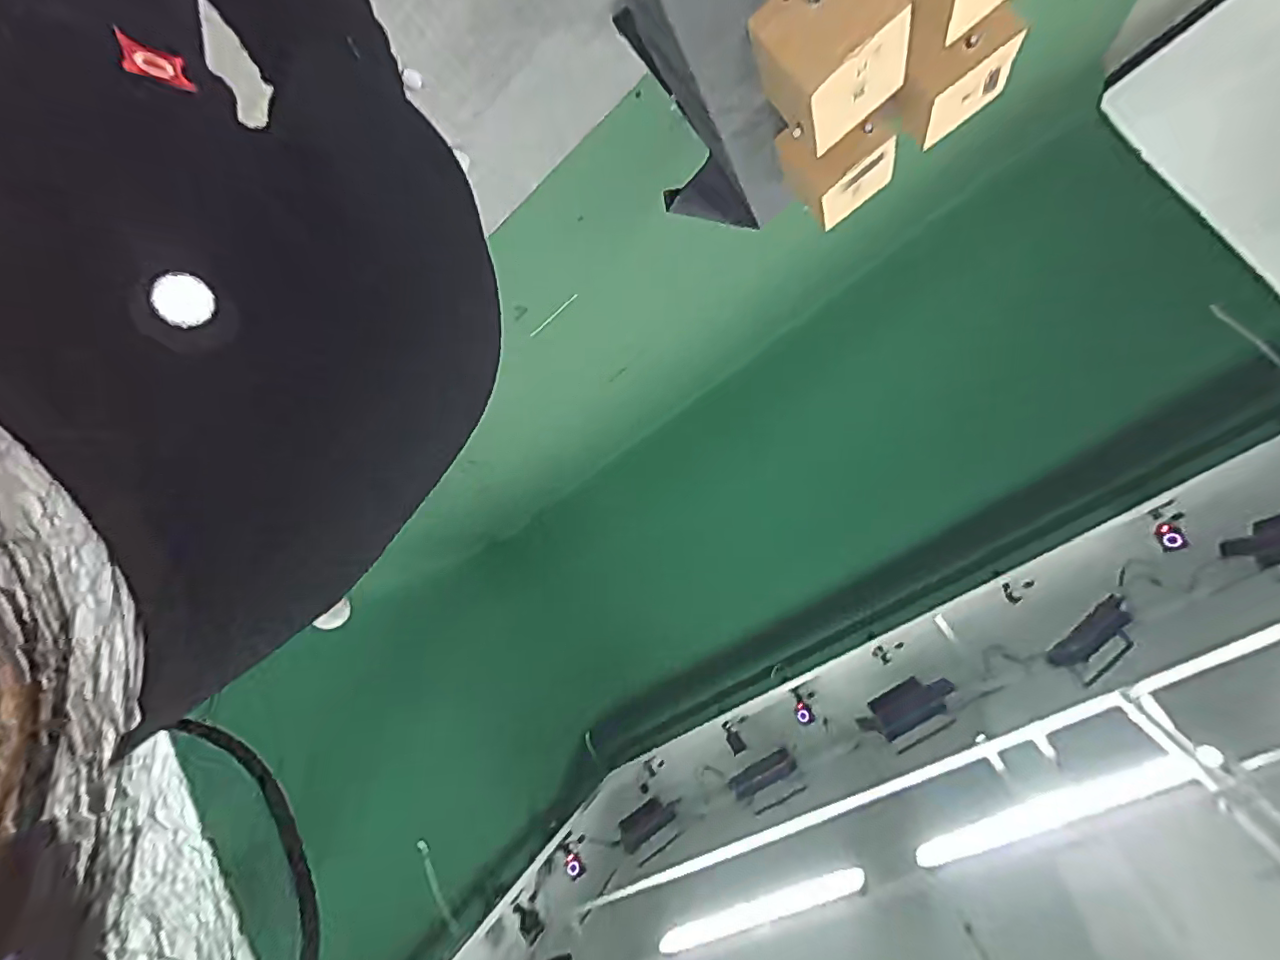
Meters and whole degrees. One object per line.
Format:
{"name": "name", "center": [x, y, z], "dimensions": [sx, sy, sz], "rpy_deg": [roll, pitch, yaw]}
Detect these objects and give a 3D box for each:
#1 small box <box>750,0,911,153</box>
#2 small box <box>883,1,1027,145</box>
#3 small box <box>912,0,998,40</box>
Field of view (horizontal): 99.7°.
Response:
{"name": "small box", "center": [0.299, -0.684, 0.861], "dimensions": [0.168, 0.176, 0.179], "rpy_deg": [-37, 167, 19]}
{"name": "small box", "center": [0.596, -0.821, 1.058], "dimensions": [0.179, 0.176, 0.168], "rpy_deg": [-35, 168, 17]}
{"name": "small box", "center": [0.488, -0.823, 0.789], "dimensions": [0.179, 0.176, 0.168], "rpy_deg": [-36, 168, 17]}
